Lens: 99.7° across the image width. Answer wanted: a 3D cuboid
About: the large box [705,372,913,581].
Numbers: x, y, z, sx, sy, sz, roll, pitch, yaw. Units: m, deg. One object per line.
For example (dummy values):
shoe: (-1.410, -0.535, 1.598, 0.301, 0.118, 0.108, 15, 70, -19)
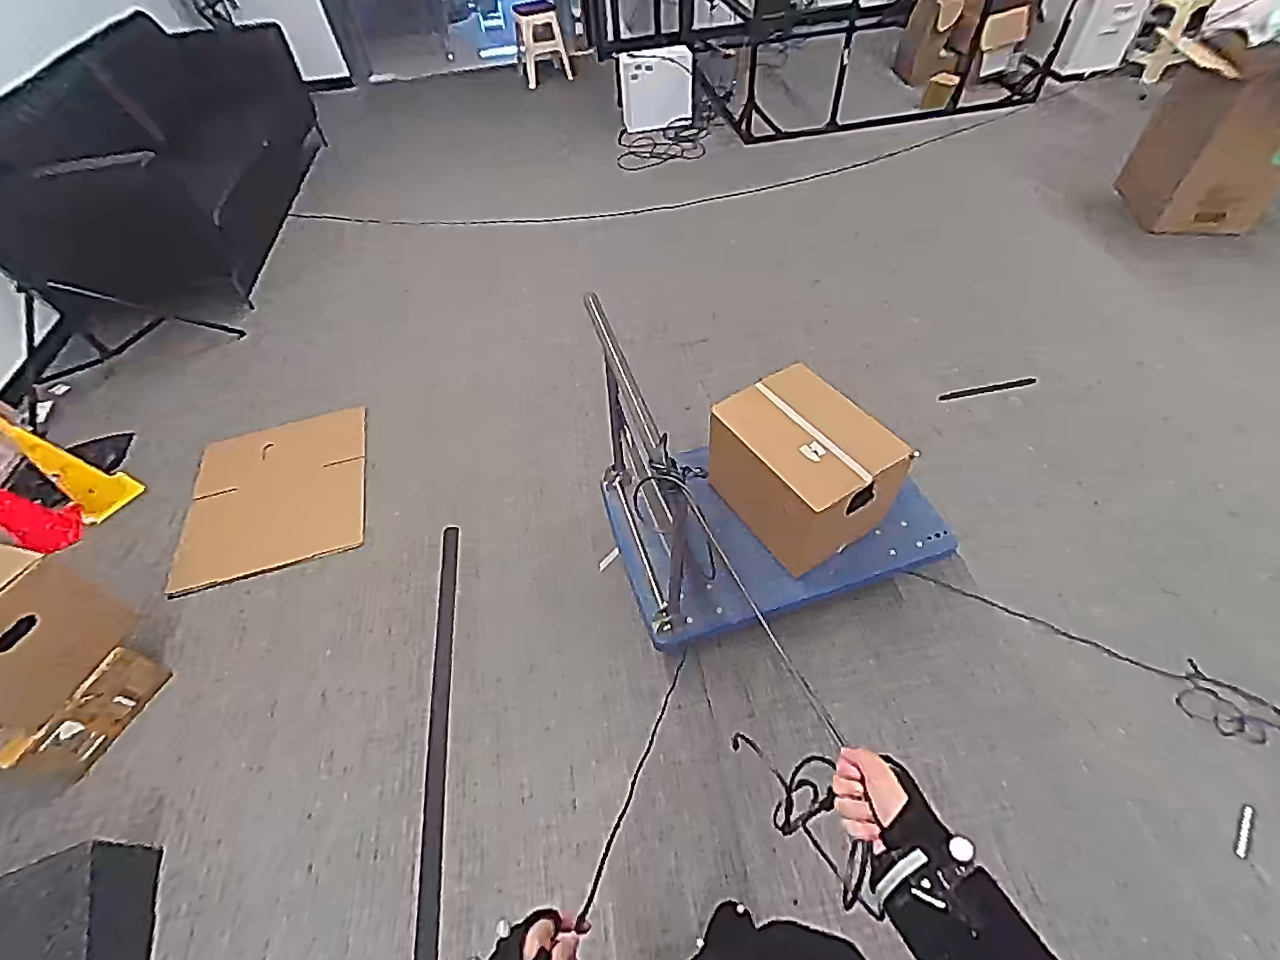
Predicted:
large box: (0.419, -0.016, 1.452, 0.320, 0.320, 0.408, -29, 55, -16)
